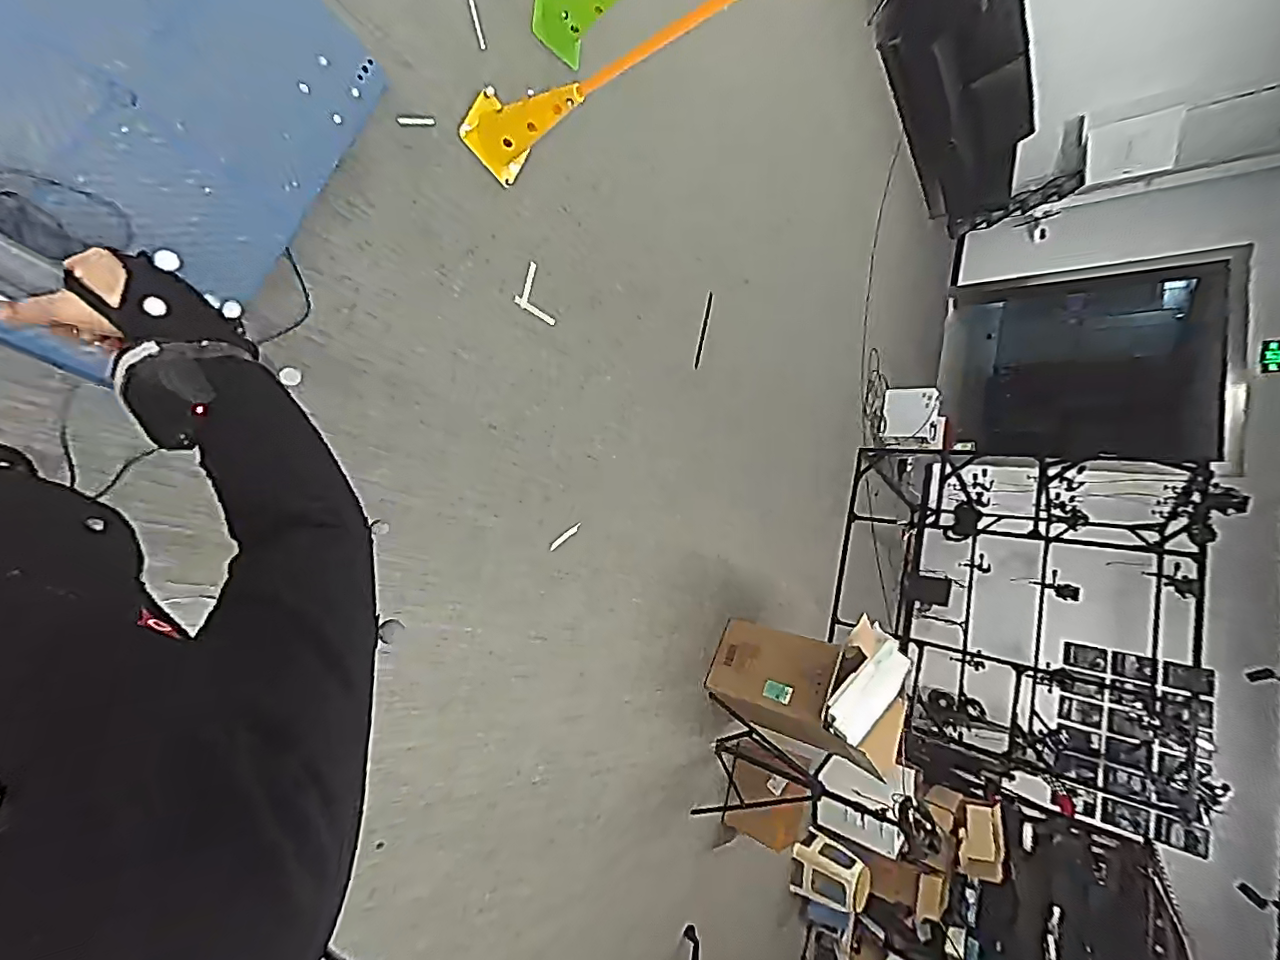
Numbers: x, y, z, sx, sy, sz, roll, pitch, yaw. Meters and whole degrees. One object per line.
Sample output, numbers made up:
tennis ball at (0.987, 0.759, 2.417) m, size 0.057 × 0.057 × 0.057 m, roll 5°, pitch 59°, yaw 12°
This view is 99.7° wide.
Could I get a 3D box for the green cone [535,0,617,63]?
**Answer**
green cone at (-0.123, -1.490, 1.645) m, size 0.200 × 0.368 × 0.202 m, roll 4°, pitch 92°, yaw -51°
